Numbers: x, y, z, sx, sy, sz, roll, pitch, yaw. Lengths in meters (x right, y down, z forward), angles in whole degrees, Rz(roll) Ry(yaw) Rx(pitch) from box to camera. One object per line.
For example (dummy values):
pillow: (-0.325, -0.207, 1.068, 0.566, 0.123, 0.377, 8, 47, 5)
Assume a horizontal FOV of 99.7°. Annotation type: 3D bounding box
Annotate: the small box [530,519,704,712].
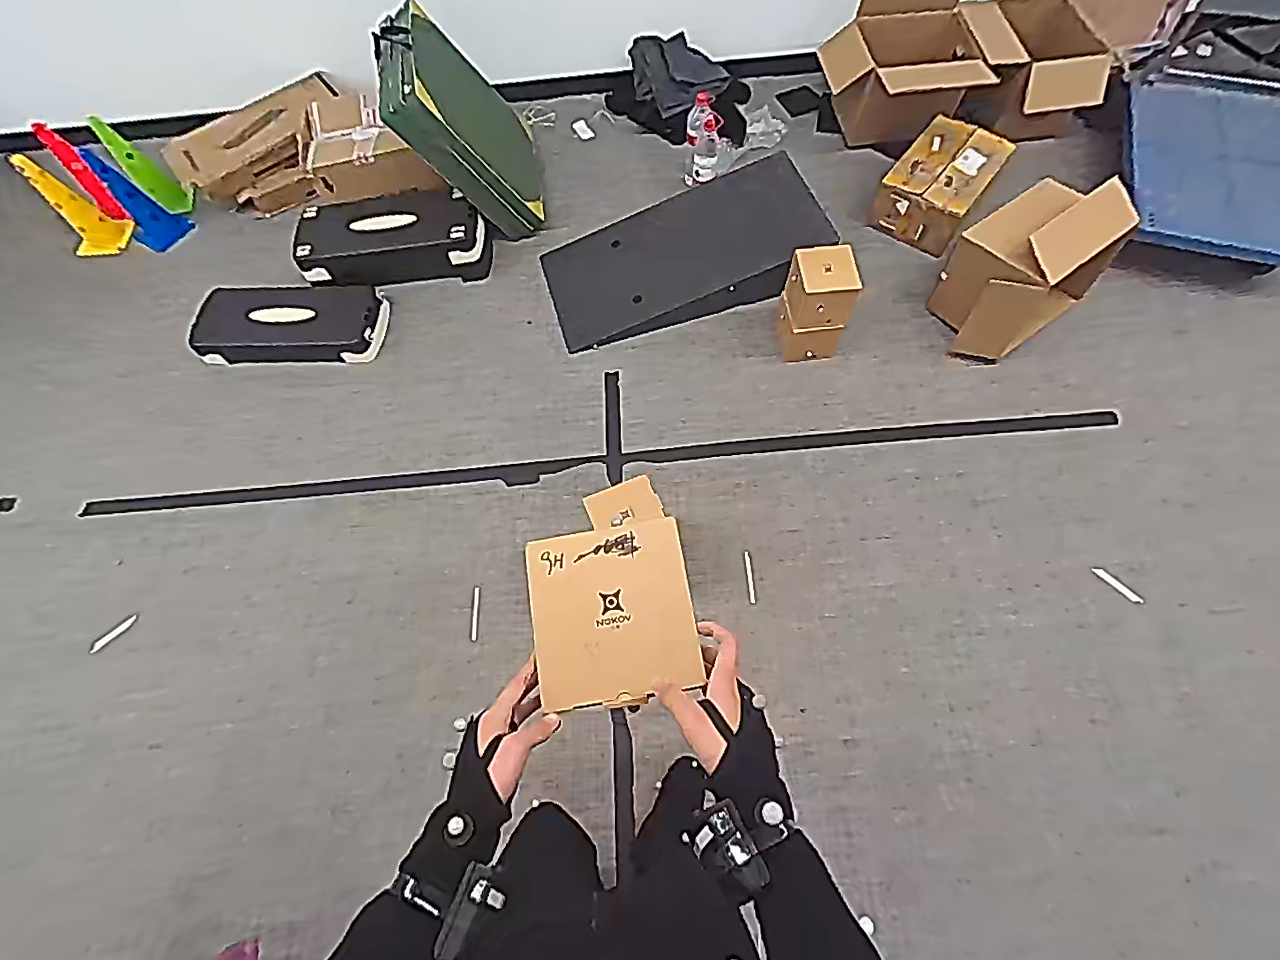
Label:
small box: (-0.021, 0.159, 0.634, 0.168, 0.176, 0.179, -10, 71, 1)
